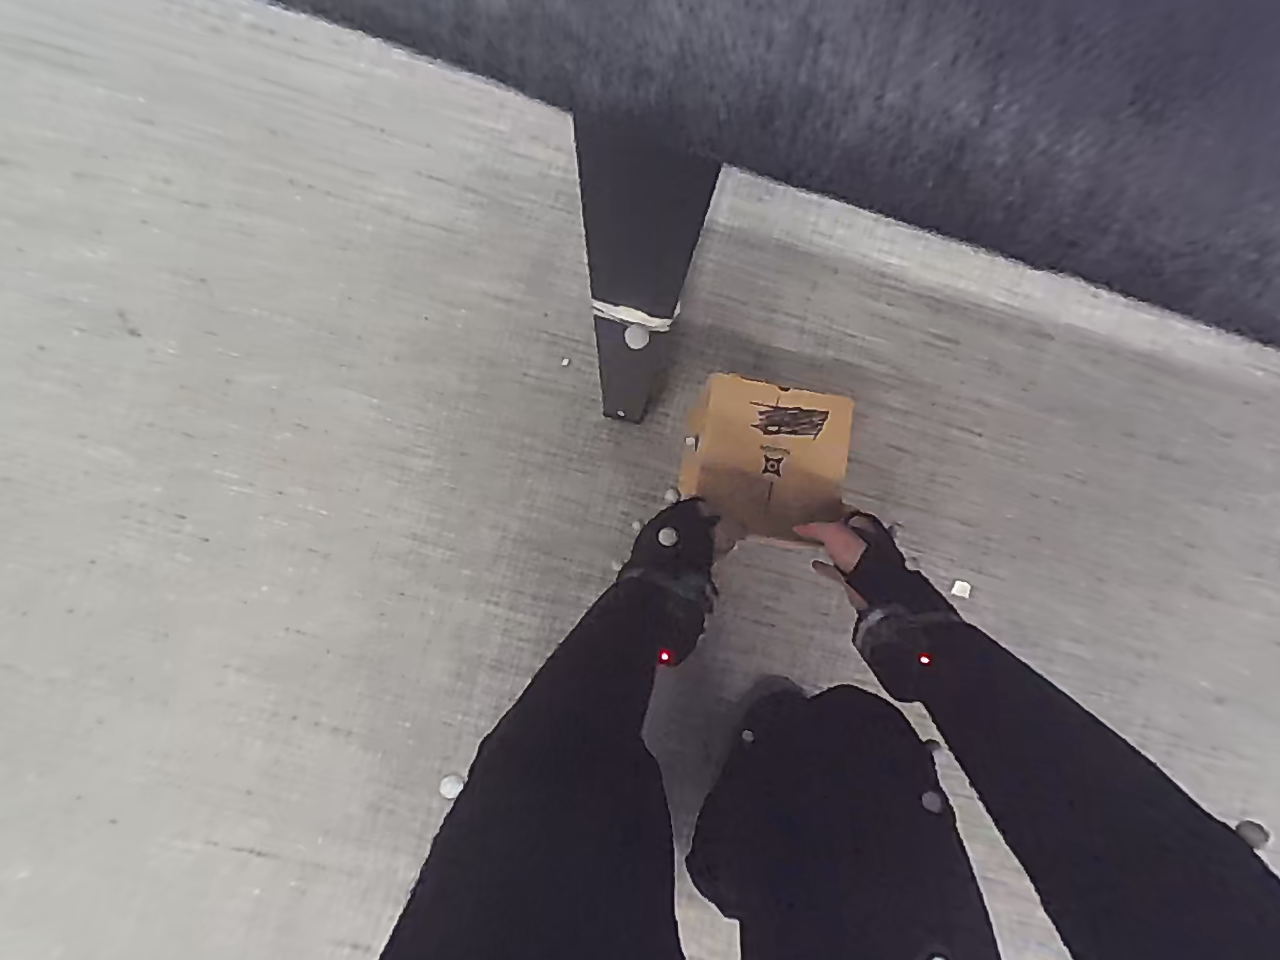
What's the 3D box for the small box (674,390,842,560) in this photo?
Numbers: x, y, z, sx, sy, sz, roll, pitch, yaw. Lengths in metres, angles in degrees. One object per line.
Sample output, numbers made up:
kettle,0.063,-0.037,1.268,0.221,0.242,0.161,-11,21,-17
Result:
small box,0.139,0.004,0.690,0.168,0.176,0.179,8,81,-1
